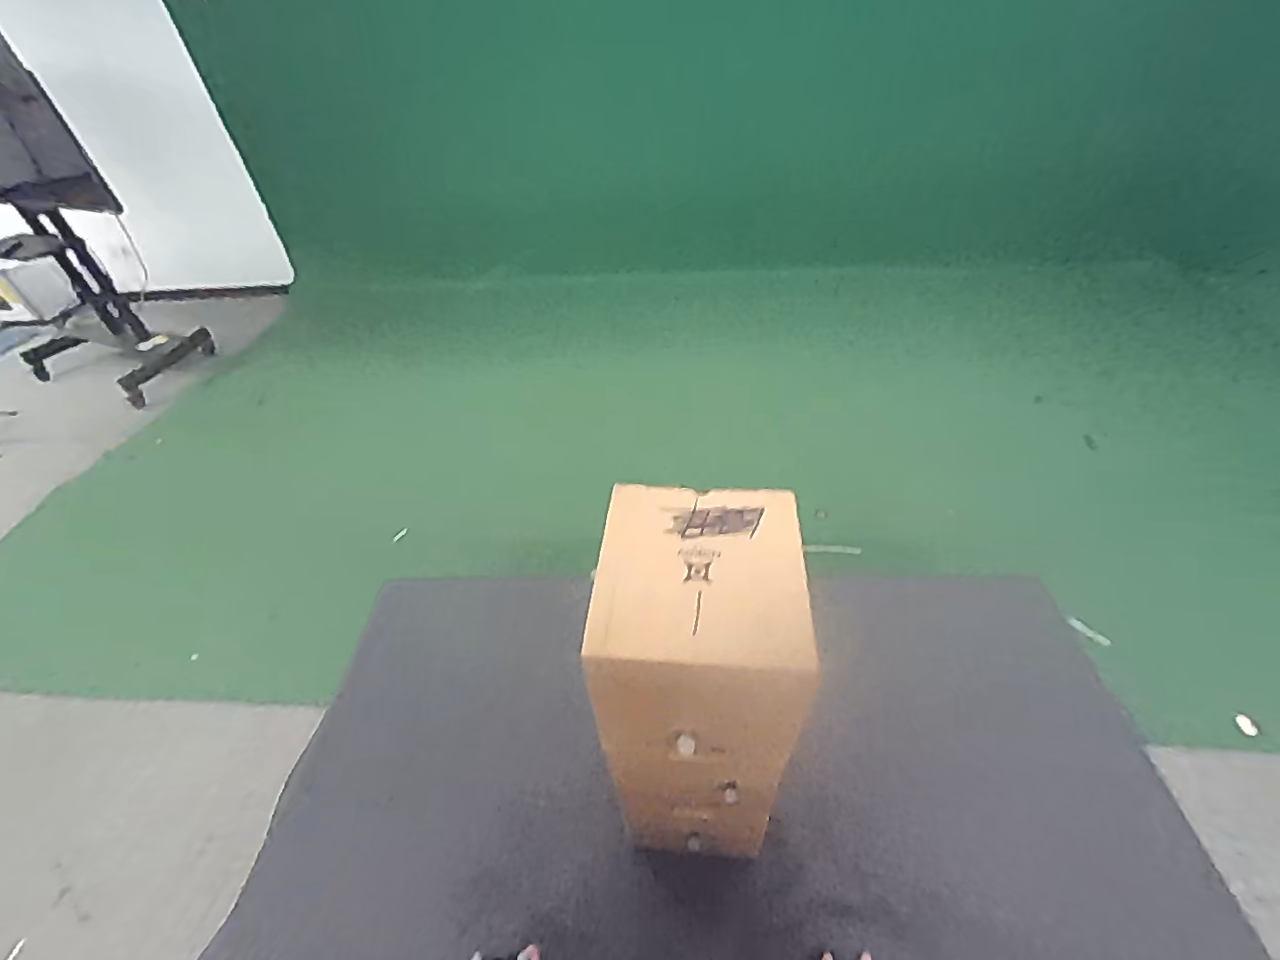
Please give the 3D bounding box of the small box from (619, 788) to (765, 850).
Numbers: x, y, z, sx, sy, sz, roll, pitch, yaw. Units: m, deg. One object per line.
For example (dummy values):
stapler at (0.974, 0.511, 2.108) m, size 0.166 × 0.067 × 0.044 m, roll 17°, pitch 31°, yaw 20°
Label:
small box at (0.072, 0.362, 0.709) m, size 0.168 × 0.176 × 0.179 m, roll 1°, pitch 43°, yaw 7°

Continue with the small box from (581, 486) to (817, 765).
small box at (0.051, 0.127, 0.484) m, size 0.168 × 0.176 × 0.179 m, roll 2°, pitch 44°, yaw 7°

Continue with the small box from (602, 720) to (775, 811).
small box at (0.058, 0.243, 0.599) m, size 0.168 × 0.176 × 0.179 m, roll 1°, pitch 42°, yaw 5°
